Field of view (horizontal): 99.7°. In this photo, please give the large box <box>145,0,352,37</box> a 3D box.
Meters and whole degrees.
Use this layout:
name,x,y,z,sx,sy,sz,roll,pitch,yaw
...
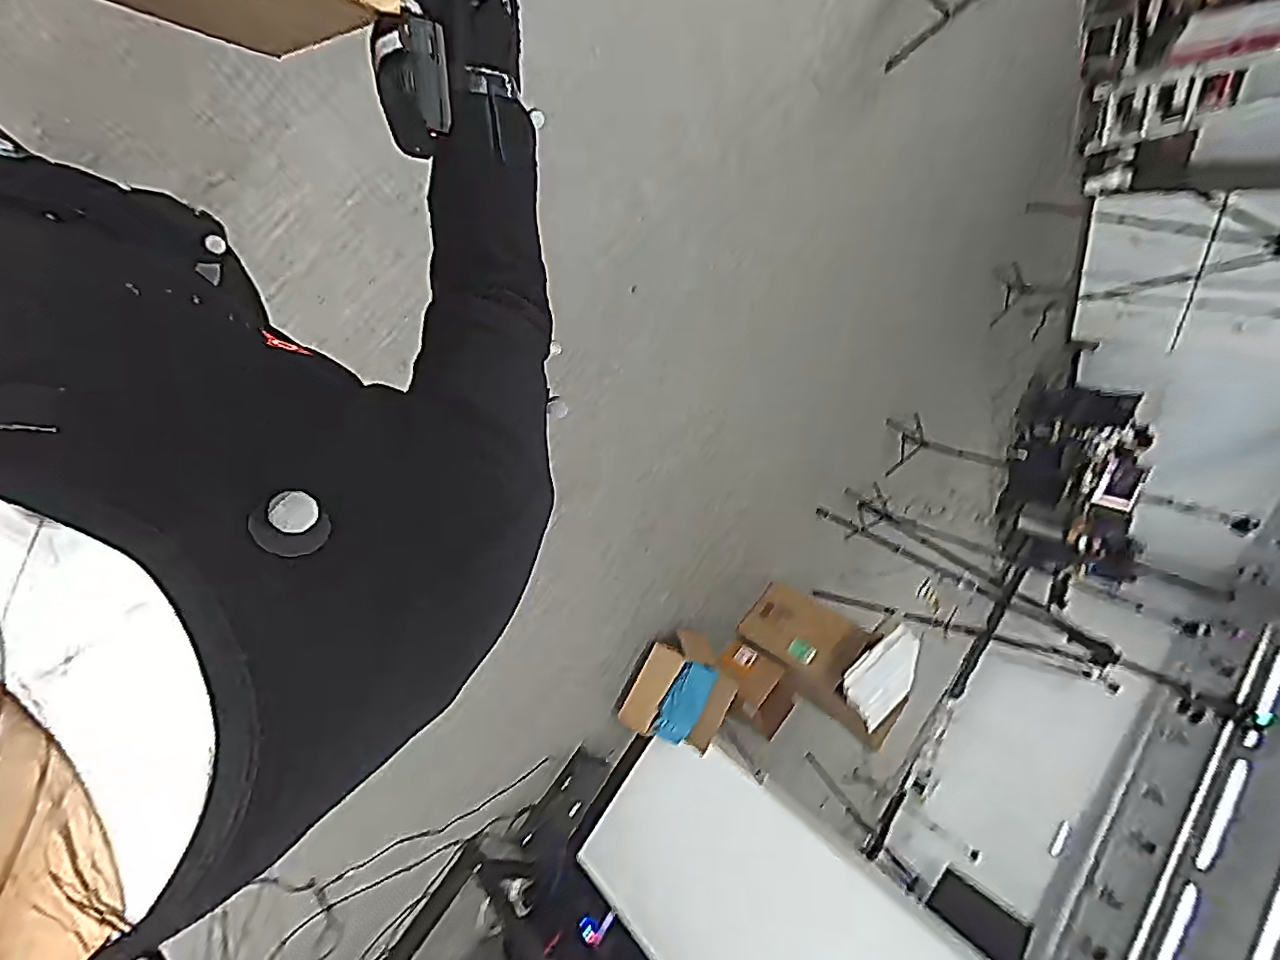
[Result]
name,x,y,z,sx,sy,sz,roll,pitch,yaw
large box,-0.369,-0.459,0.227,0.408,0.320,0.320,-12,124,-43
